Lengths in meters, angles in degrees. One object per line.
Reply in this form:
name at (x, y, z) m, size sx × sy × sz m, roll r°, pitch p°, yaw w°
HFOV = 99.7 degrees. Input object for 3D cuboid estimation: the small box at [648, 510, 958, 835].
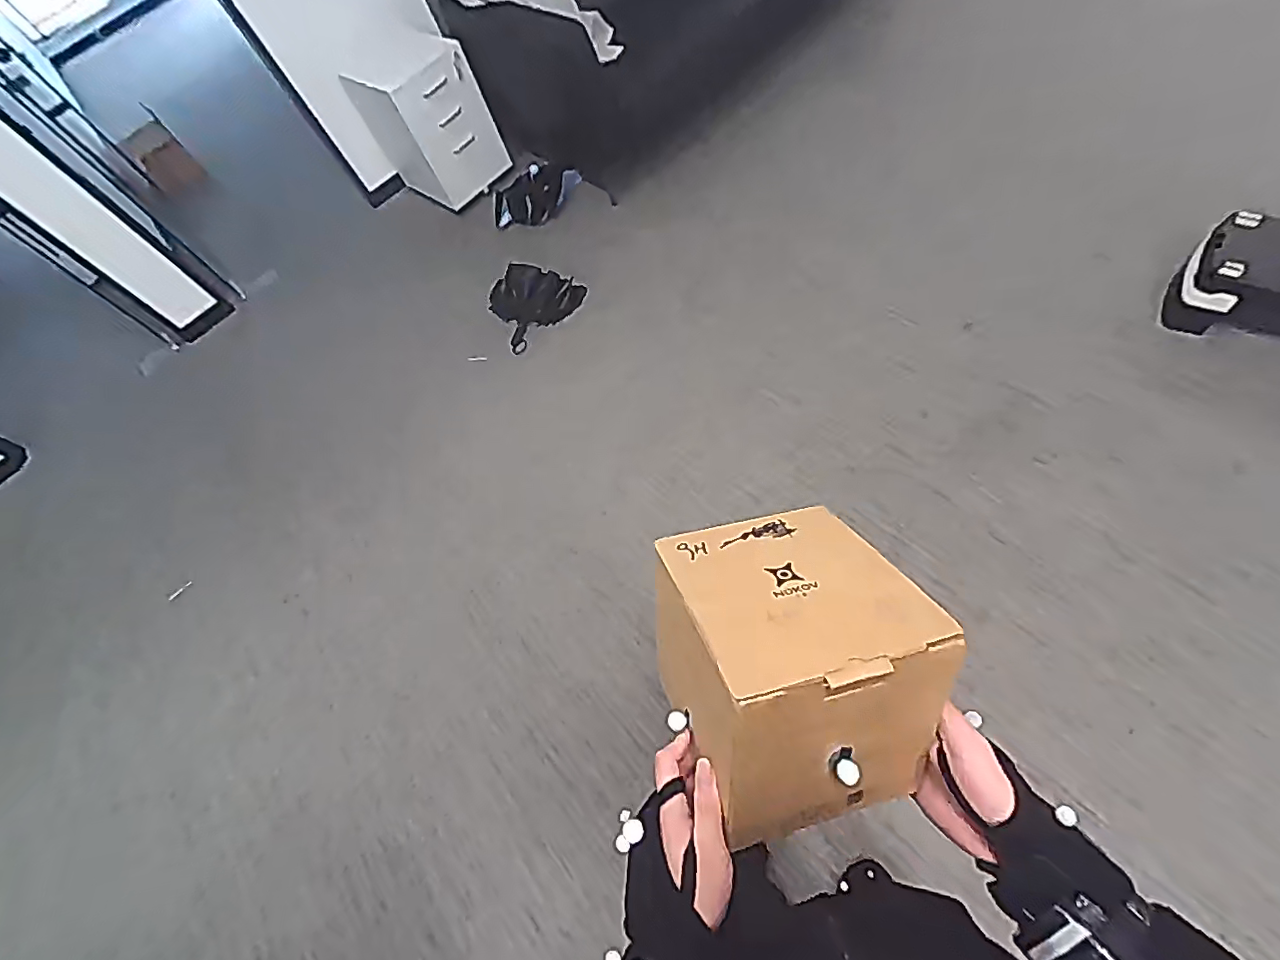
small box at (0.110, 0.152, 0.439) m, size 0.168 × 0.176 × 0.179 m, roll -9°, pitch 31°, yaw -11°
